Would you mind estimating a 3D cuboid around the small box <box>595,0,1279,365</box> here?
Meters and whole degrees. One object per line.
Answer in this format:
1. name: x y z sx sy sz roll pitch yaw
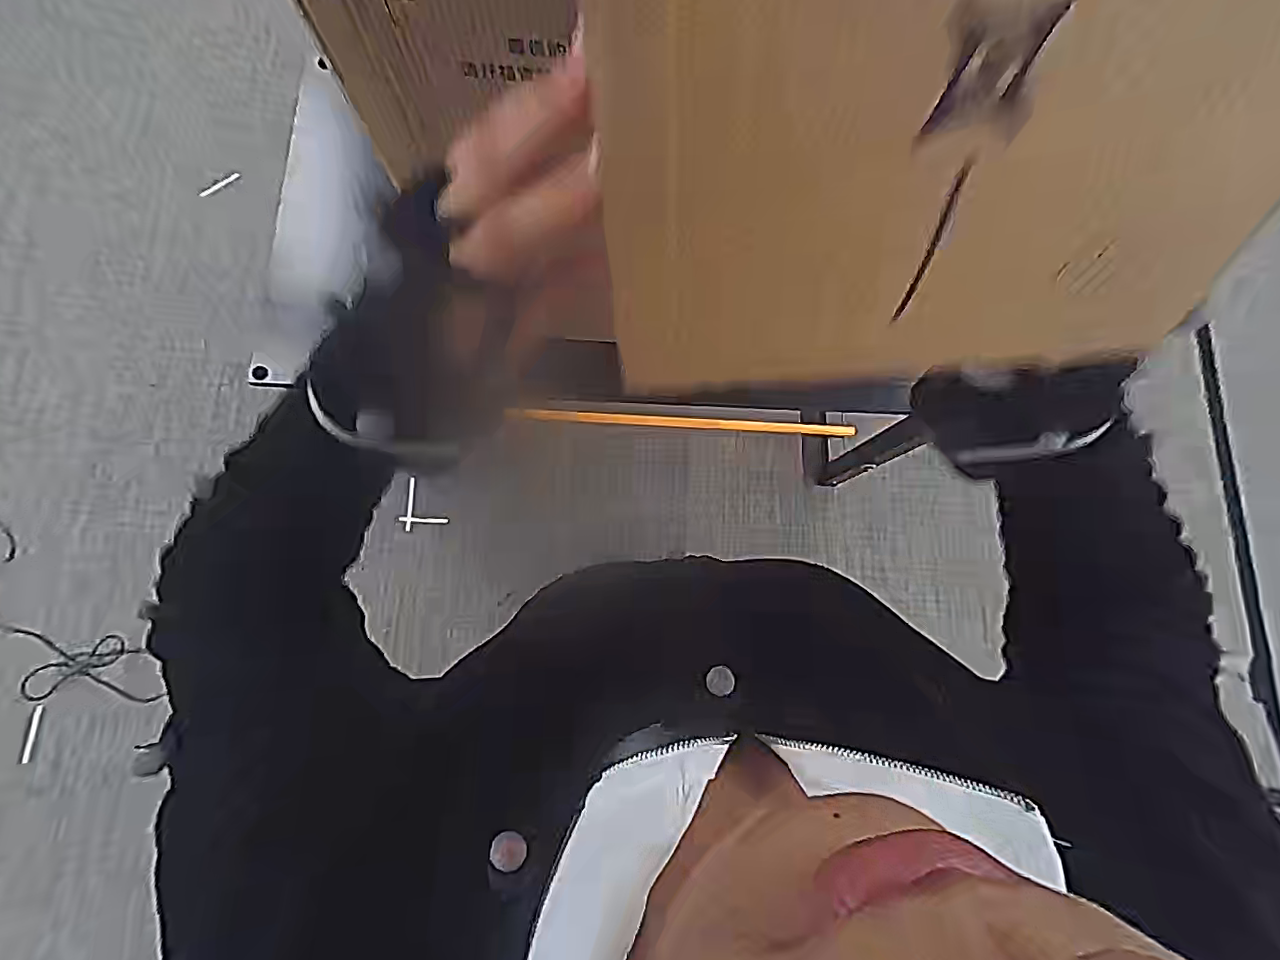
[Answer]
1. small box: 0.069 -0.157 0.142 0.168 0.179 0.176 -5 51 1
